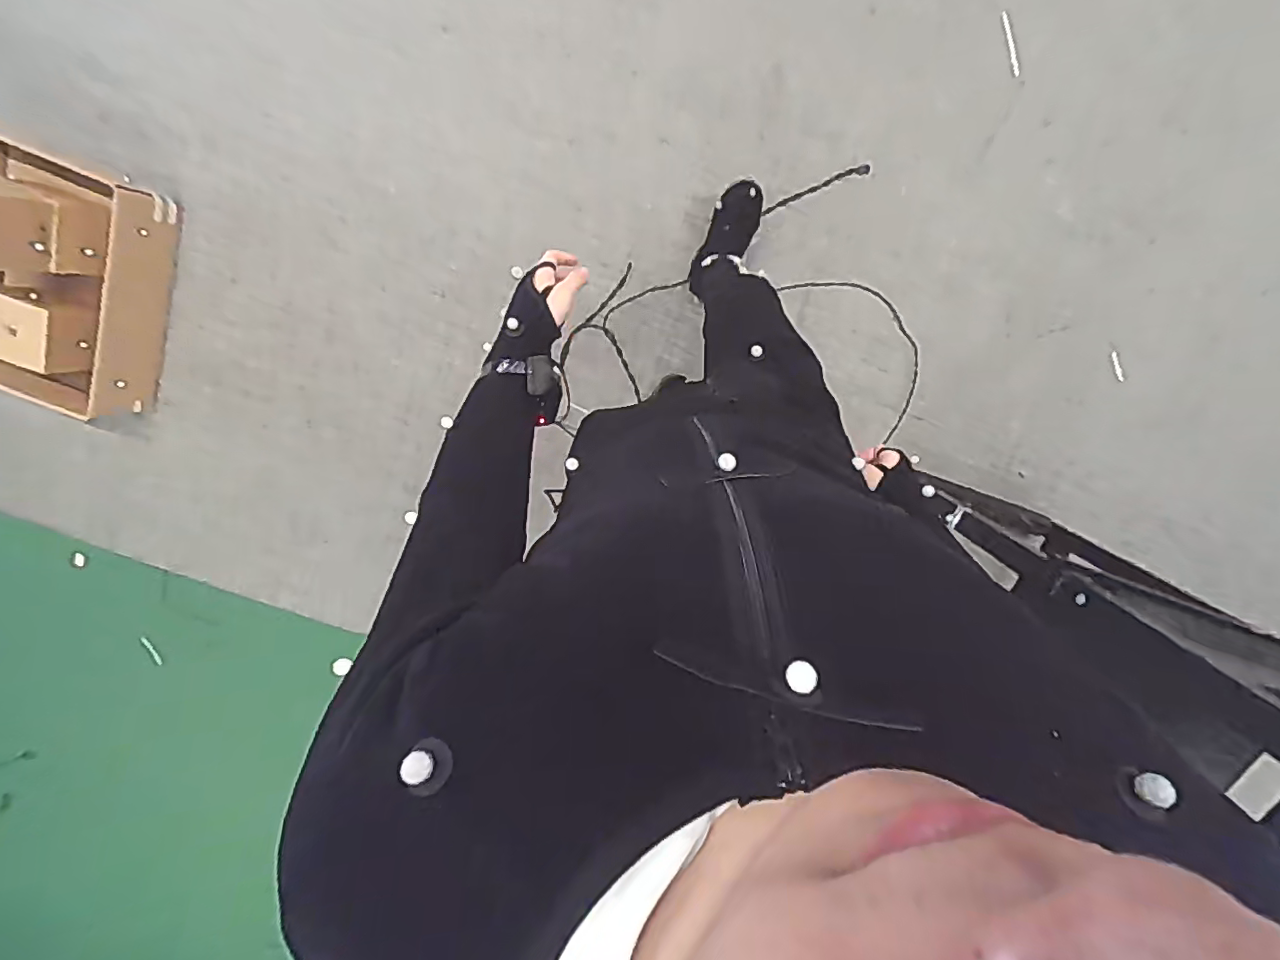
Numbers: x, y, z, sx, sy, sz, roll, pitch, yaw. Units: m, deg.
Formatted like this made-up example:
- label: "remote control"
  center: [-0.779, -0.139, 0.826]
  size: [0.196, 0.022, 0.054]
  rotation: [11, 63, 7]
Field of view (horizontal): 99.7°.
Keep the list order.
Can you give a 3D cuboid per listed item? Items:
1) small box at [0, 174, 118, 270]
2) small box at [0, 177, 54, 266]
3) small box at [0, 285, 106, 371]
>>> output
- label: "small box"
  center: [-1.450, -0.629, 1.330]
  size: [0.179, 0.176, 0.168]
  rotation: [21, 107, -6]
- label: "small box"
  center: [-1.455, -0.578, 1.174]
  size: [0.179, 0.176, 0.168]
  rotation: [23, 108, -7]
- label: "small box"
  center: [-1.552, -0.399, 1.402]
  size: [0.179, 0.176, 0.168]
  rotation: [20, 105, -6]
